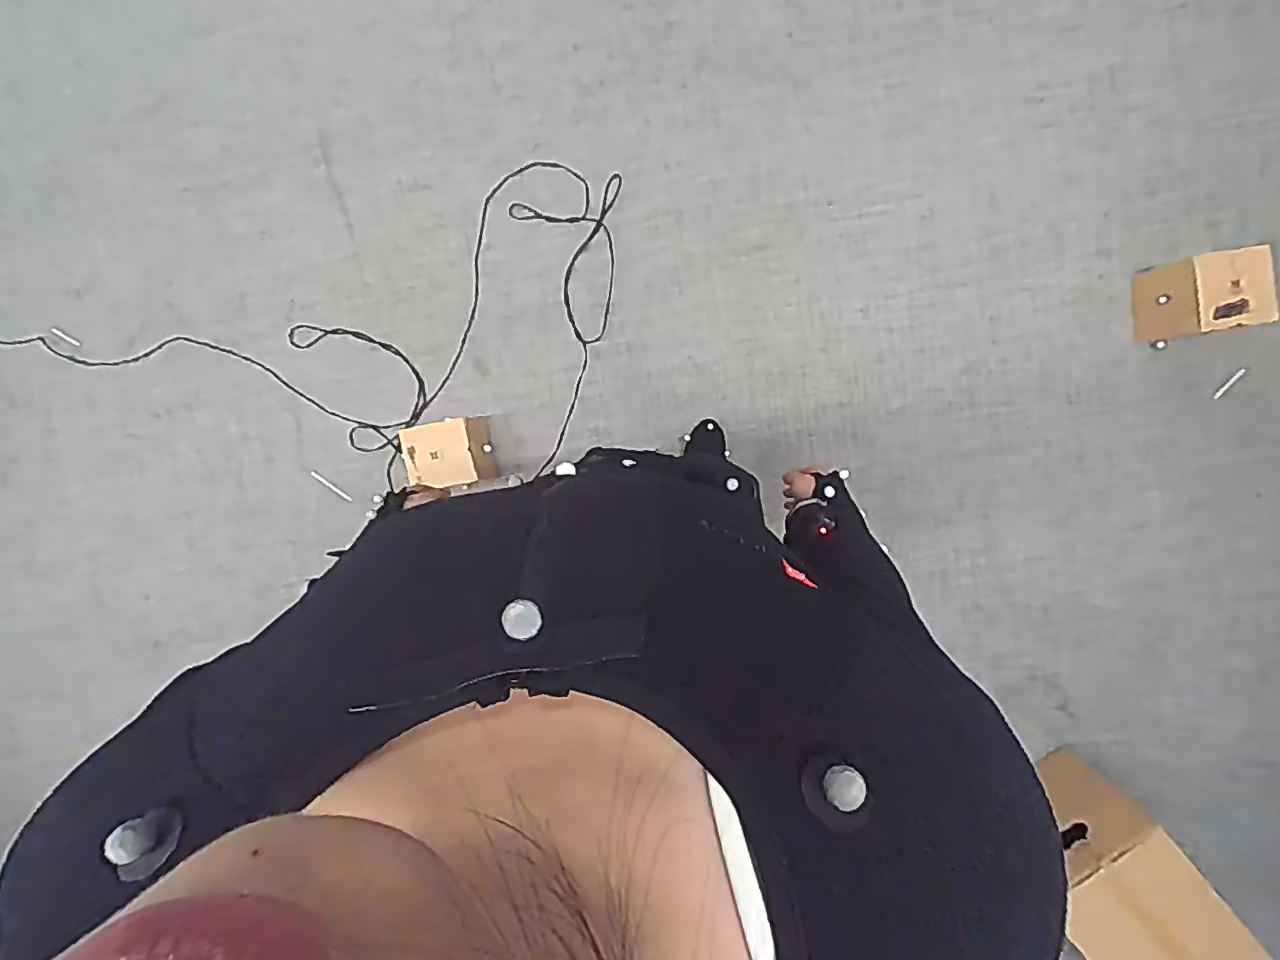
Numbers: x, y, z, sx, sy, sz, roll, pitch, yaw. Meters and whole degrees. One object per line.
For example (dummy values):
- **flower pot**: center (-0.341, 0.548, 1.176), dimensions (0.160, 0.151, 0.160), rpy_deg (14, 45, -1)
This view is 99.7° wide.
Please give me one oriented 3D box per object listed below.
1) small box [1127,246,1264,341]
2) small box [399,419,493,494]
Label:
- **small box**: center (1.335, -0.440, 1.311), dimensions (0.168, 0.176, 0.179), rpy_deg (-8, 94, 4)
- **small box**: center (-0.500, -0.065, 1.427), dimensions (0.179, 0.176, 0.168), rpy_deg (-11, 93, 3)
